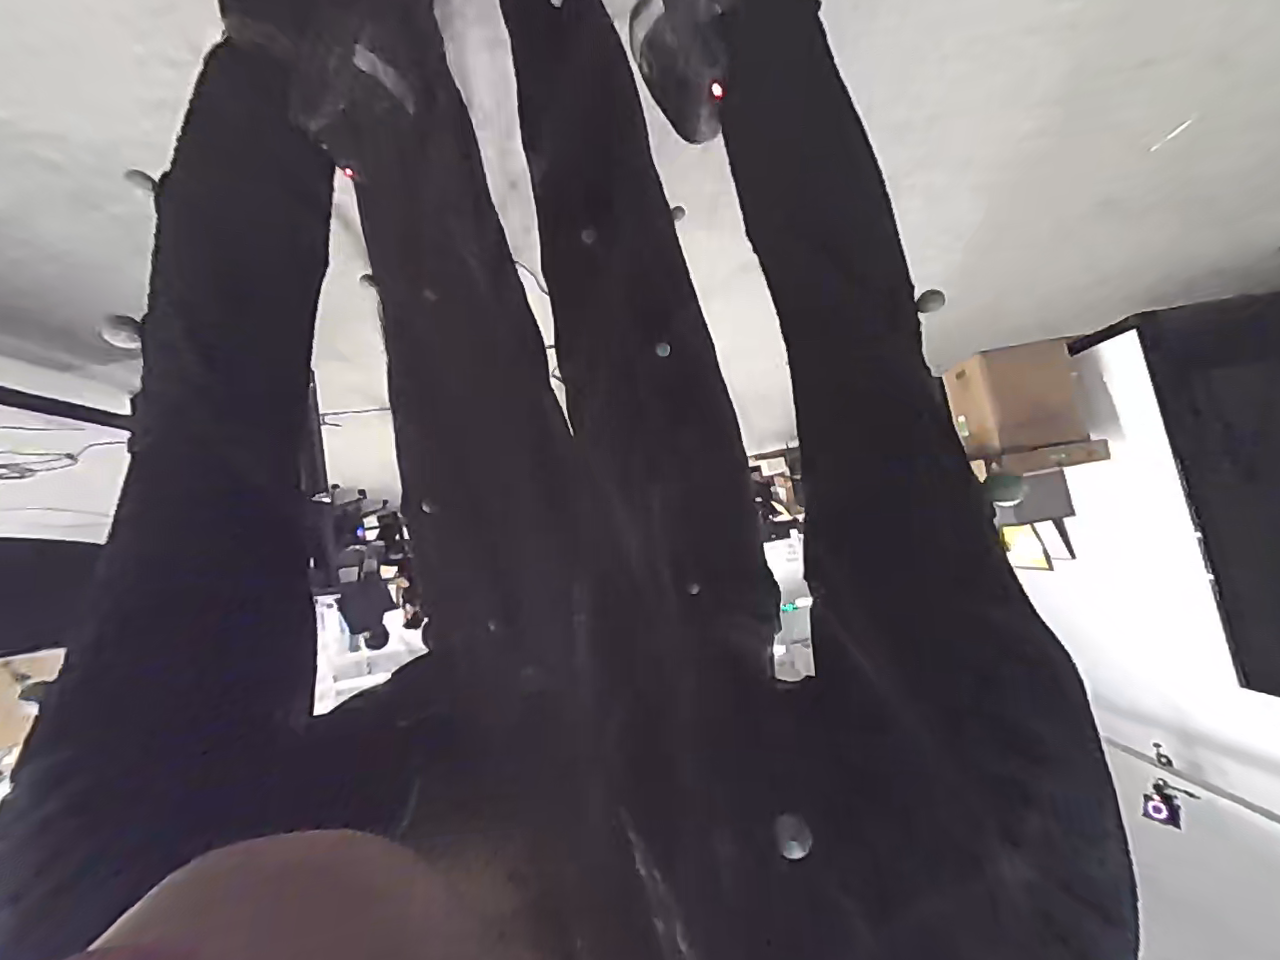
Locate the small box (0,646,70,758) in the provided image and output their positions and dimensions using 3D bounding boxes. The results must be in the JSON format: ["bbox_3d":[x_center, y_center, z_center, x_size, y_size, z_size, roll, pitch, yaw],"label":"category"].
[{"bbox_3d":[-1.140,0.390,0.921,0.179,0.176,0.168,-10,175,0],"label":"small box"}]
